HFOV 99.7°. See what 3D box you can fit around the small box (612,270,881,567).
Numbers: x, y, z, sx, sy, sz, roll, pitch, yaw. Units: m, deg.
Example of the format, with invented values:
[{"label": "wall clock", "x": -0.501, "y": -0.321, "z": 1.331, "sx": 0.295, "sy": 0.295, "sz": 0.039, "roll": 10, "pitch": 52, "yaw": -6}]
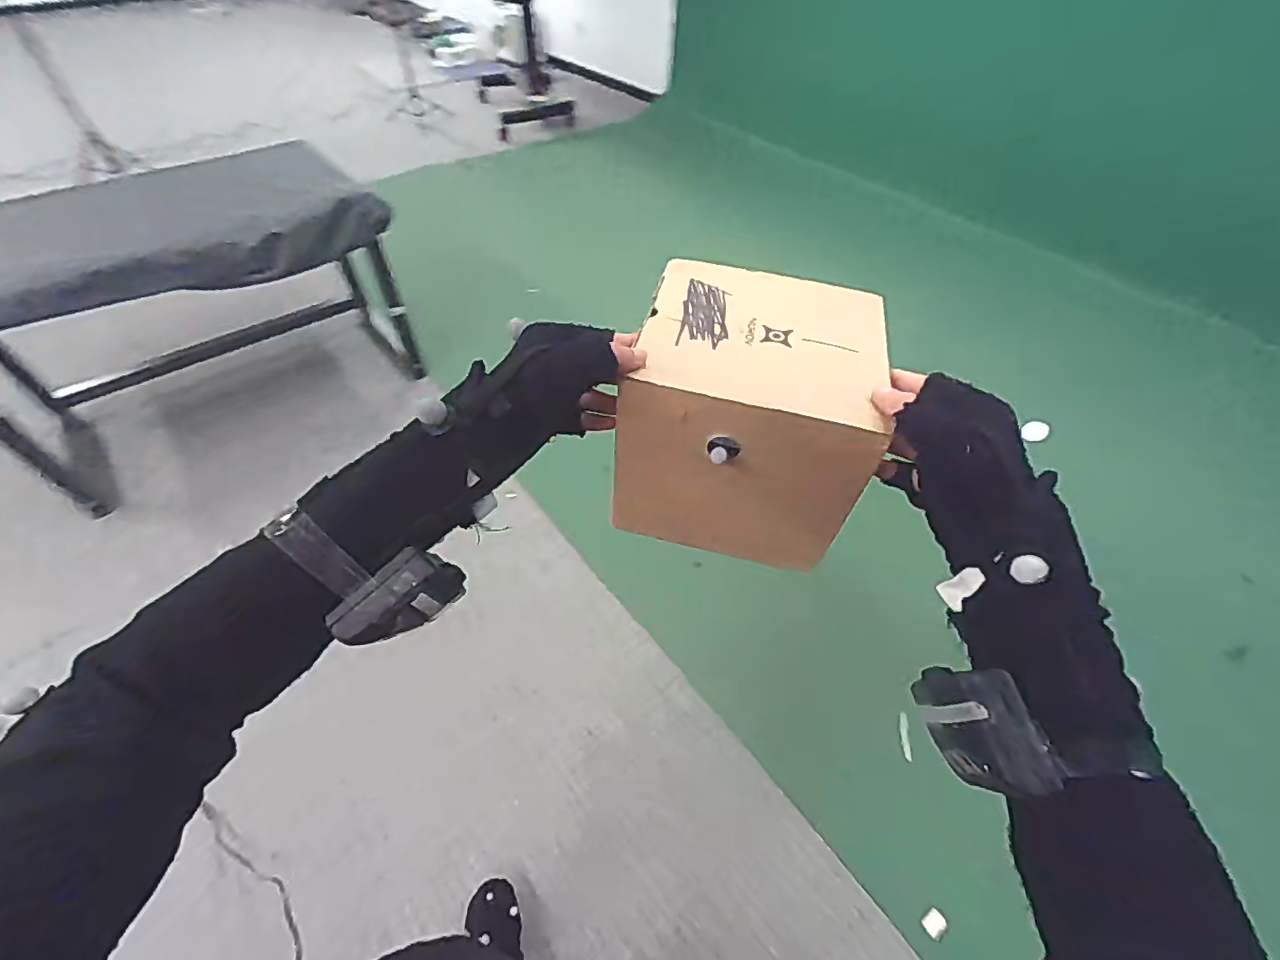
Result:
[{"label": "small box", "x": 0.079, "y": -0.048, "z": 0.455, "sx": 0.179, "sy": 0.176, "sz": 0.168, "roll": 13, "pitch": 49, "yaw": 5}]
